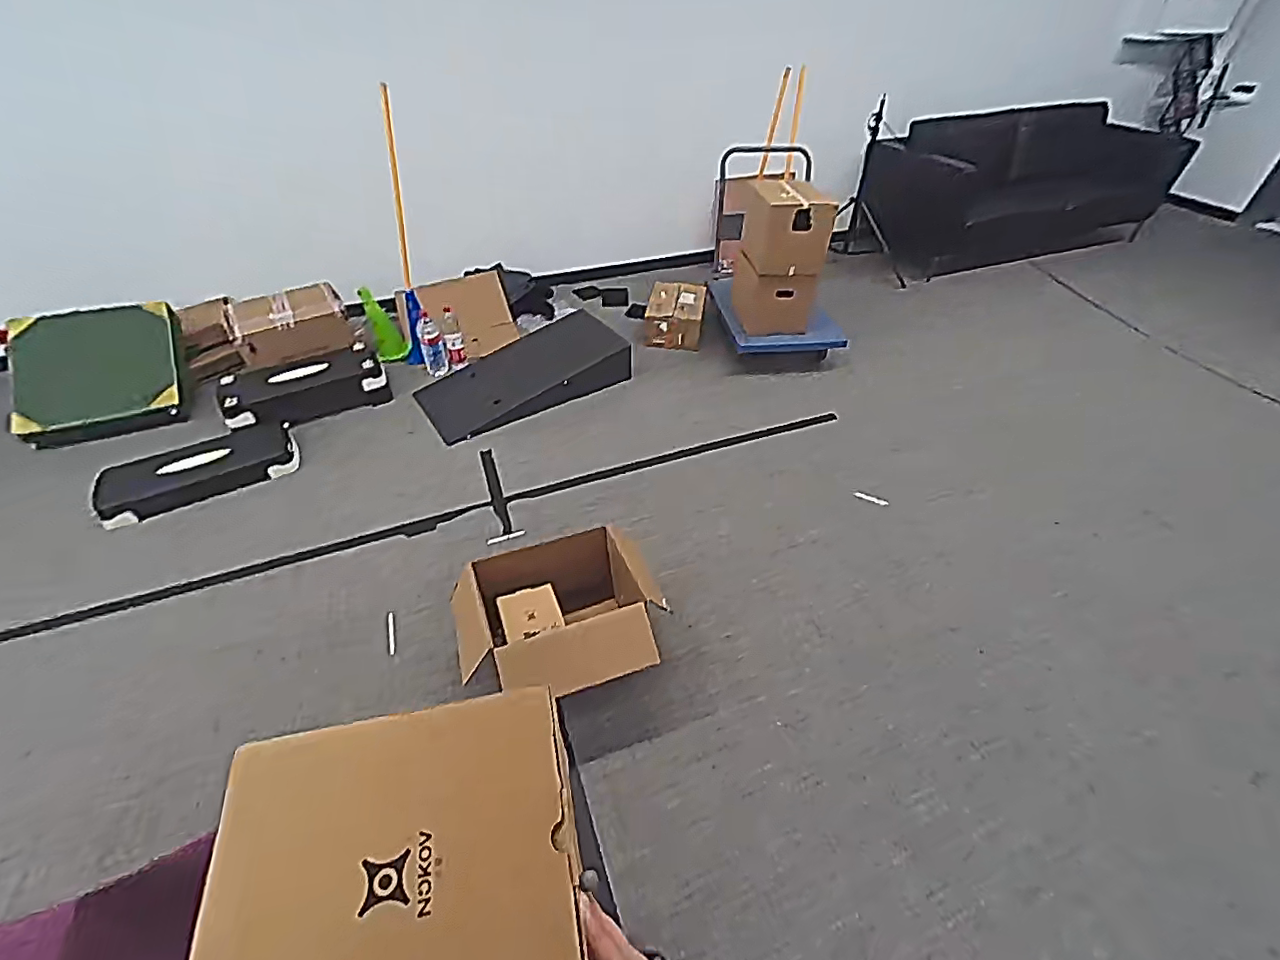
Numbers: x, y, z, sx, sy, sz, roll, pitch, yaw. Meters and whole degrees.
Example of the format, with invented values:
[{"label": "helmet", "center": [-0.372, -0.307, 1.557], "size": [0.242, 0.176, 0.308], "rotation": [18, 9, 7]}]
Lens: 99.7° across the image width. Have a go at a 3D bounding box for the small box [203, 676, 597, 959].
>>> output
[{"label": "small box", "center": [-0.123, 0.247, 0.331], "size": [0.179, 0.176, 0.168], "rotation": [-7, 50, -13]}]
